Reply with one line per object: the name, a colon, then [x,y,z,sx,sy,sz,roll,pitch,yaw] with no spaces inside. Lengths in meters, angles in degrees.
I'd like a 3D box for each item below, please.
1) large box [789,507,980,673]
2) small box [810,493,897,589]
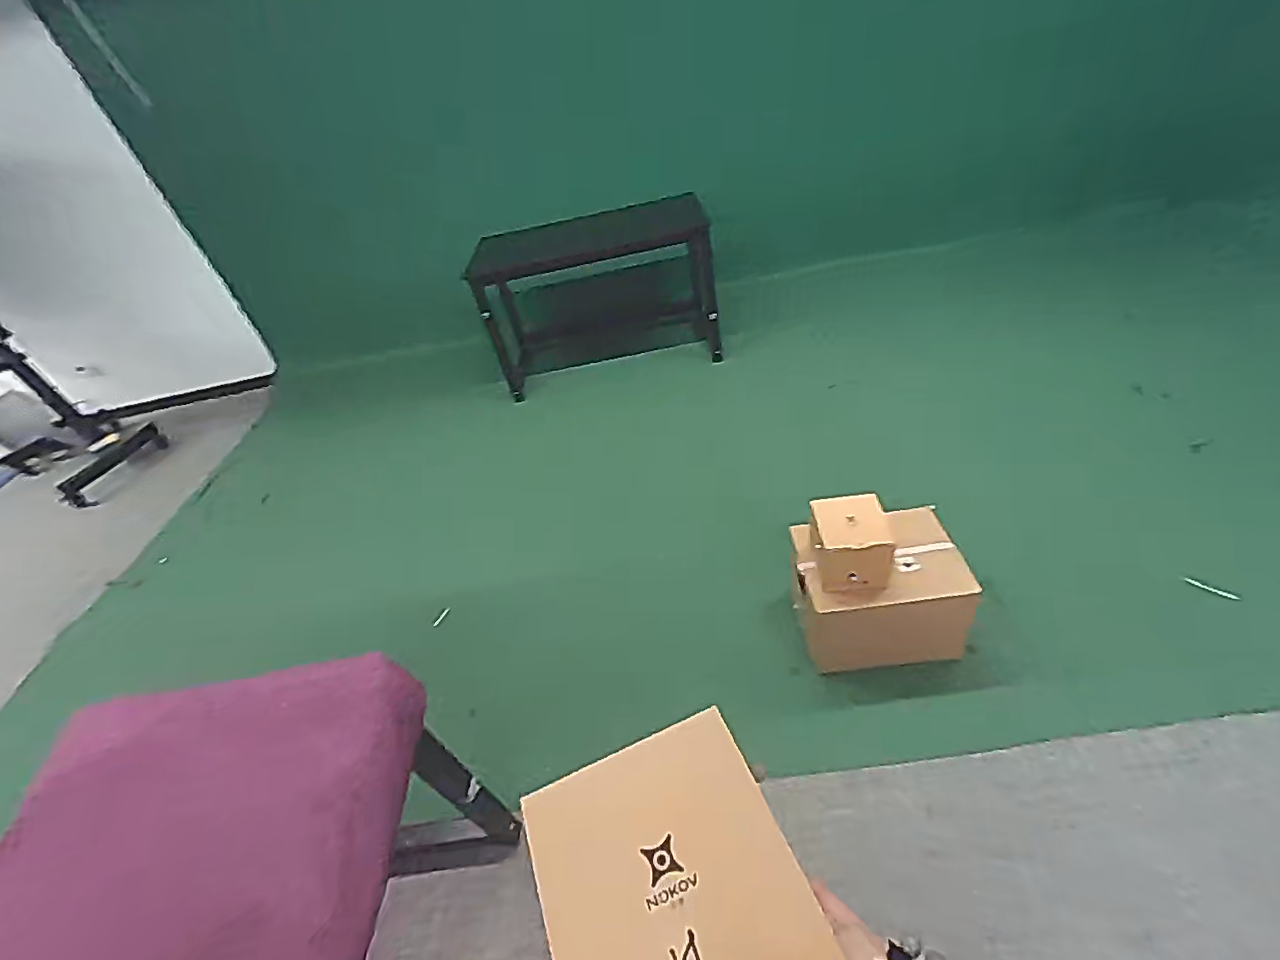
large box: [0.665,0.319,1.554,0.408,0.320,0.320,-9,41,6]
small box: [0.541,0.159,1.397,0.168,0.176,0.179,-7,41,7]
